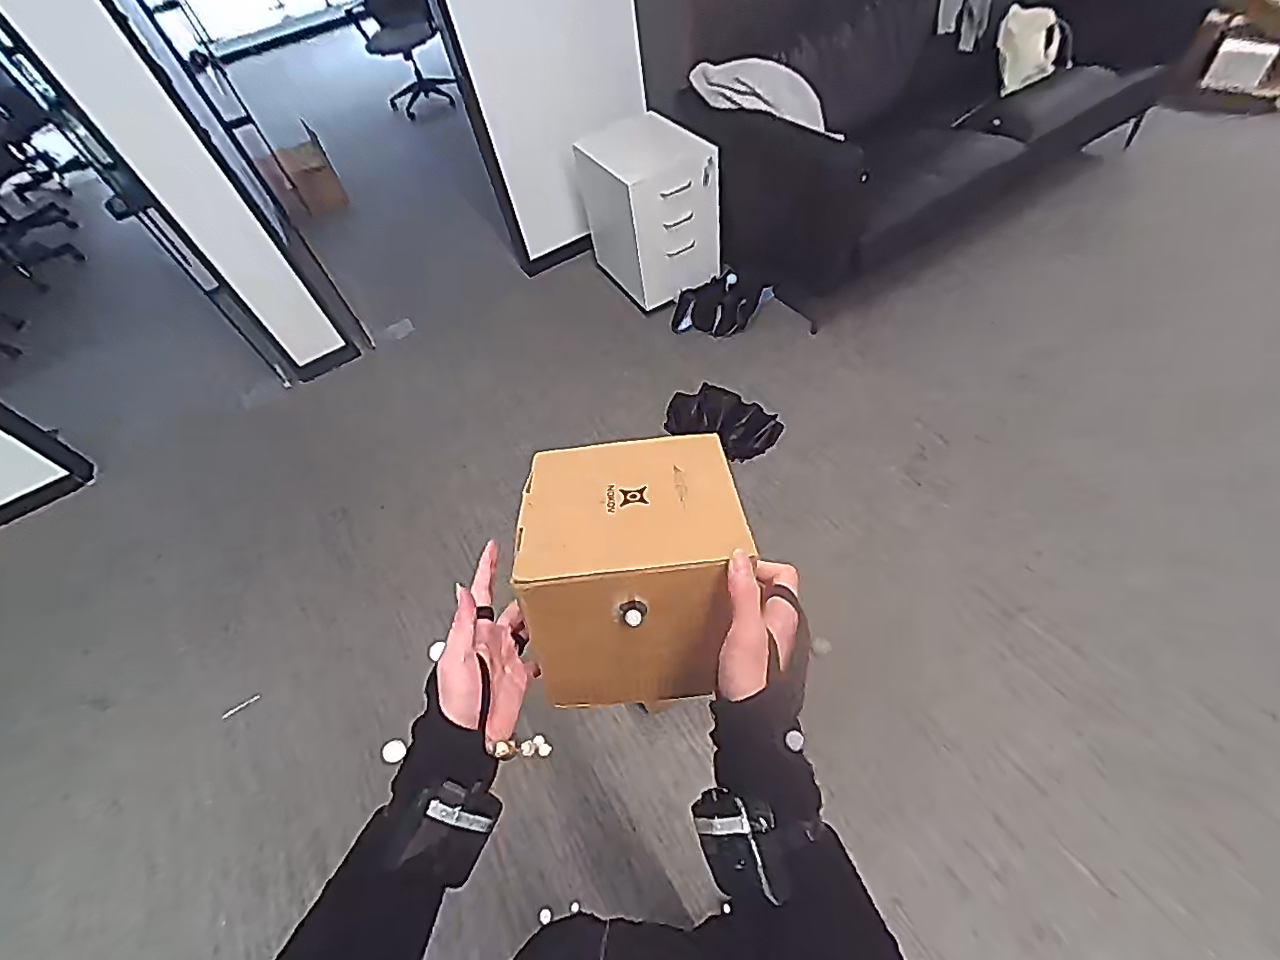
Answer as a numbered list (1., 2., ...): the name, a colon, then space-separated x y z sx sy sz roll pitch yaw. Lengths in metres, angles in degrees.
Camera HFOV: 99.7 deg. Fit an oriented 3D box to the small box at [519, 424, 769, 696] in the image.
1. small box: 0.003 0.069 0.477 0.179 0.176 0.168 -5 37 -2
